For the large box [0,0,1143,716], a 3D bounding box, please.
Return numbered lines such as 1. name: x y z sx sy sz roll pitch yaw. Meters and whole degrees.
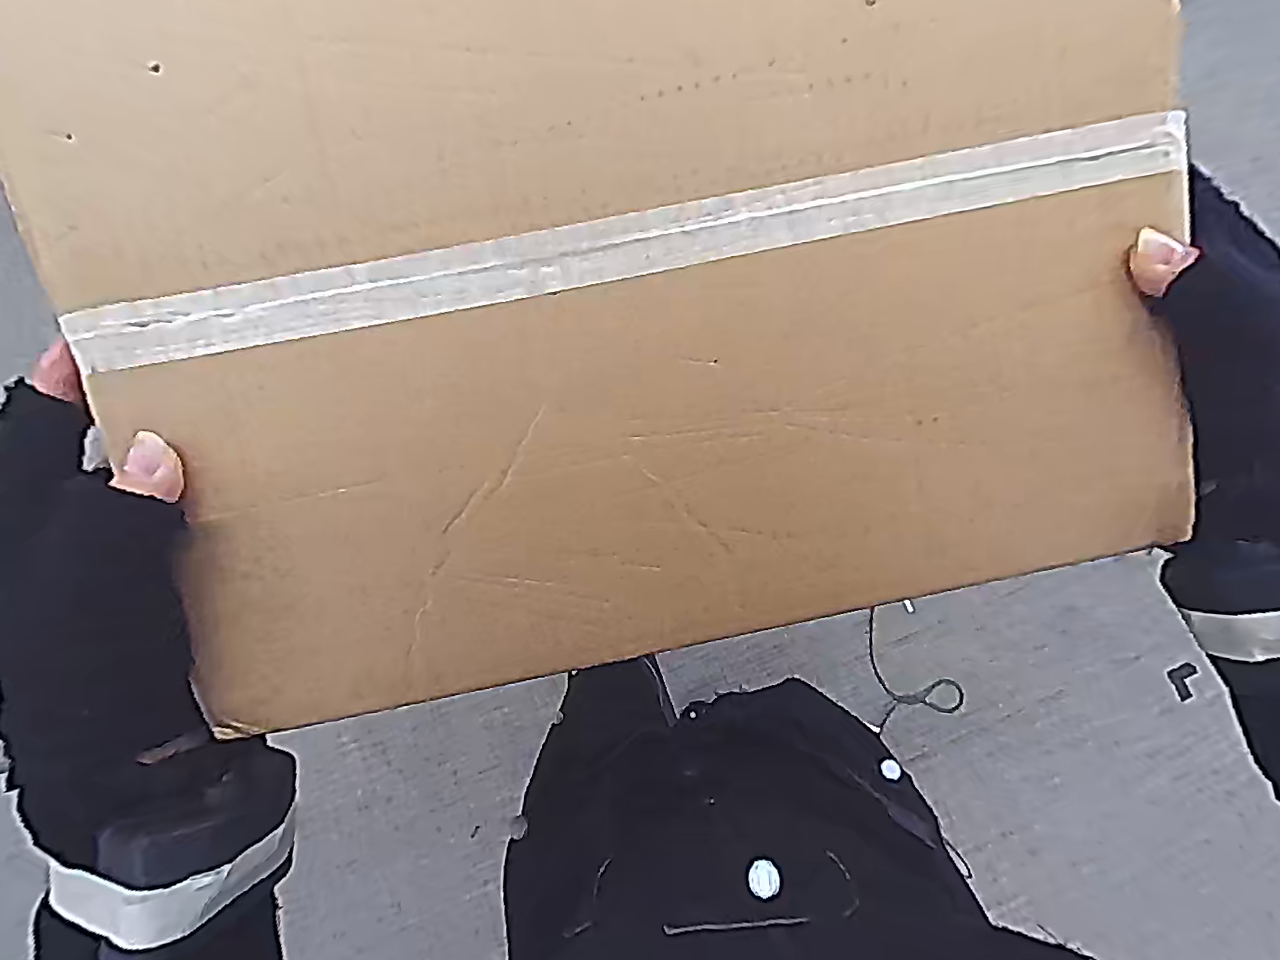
1. large box: -0.006 -0.112 0.355 0.408 0.320 0.320 -11 100 -2
